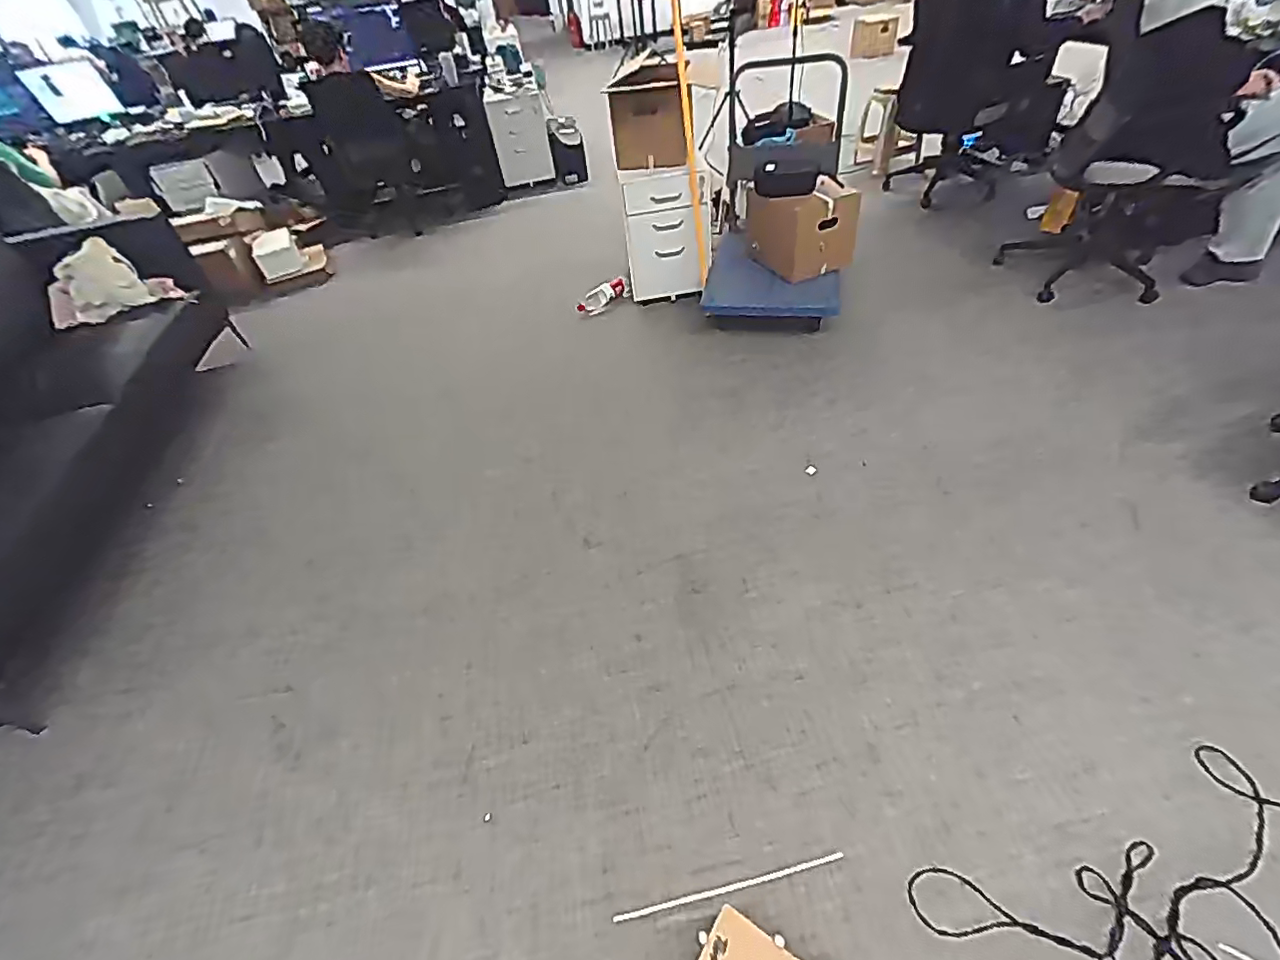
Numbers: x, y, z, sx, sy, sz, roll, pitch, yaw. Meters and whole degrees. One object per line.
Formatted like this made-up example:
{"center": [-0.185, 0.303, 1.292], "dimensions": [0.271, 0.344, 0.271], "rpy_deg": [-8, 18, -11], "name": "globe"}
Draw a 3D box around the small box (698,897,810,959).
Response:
{"center": [0.190, 0.864, 0.926], "dimensions": [0.179, 0.176, 0.168], "rpy_deg": [22, 55, 28], "name": "small box"}
